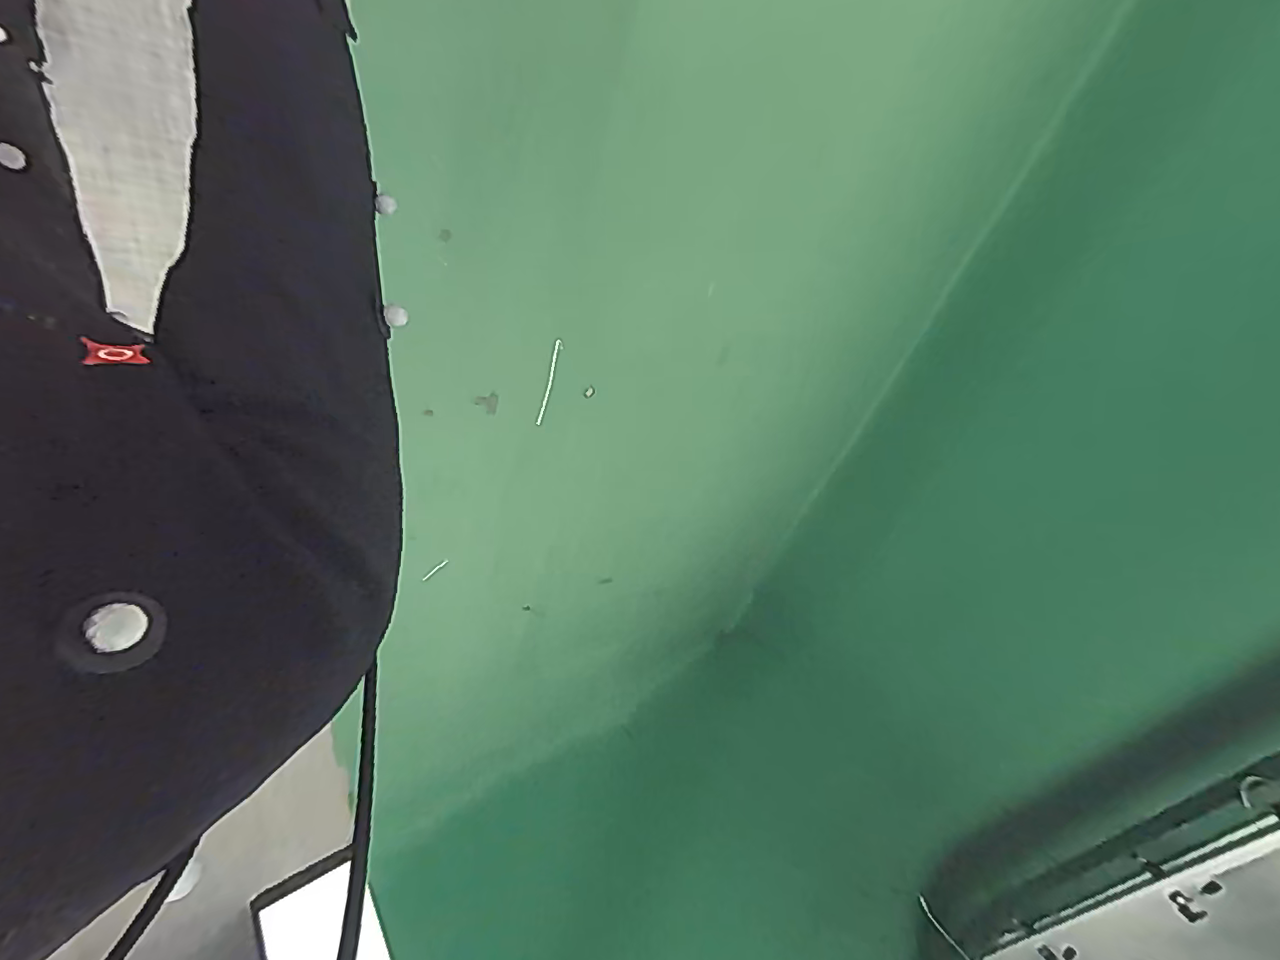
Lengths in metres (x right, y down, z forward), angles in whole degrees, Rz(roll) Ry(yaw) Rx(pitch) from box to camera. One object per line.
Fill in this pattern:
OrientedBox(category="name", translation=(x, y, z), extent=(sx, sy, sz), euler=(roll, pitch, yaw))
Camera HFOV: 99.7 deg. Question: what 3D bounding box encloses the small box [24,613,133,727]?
OrientedBox(category="small box", translation=(-1.367, 0.458, 1.326), extent=(0.168, 0.176, 0.179), euler=(-8, 132, -42))
